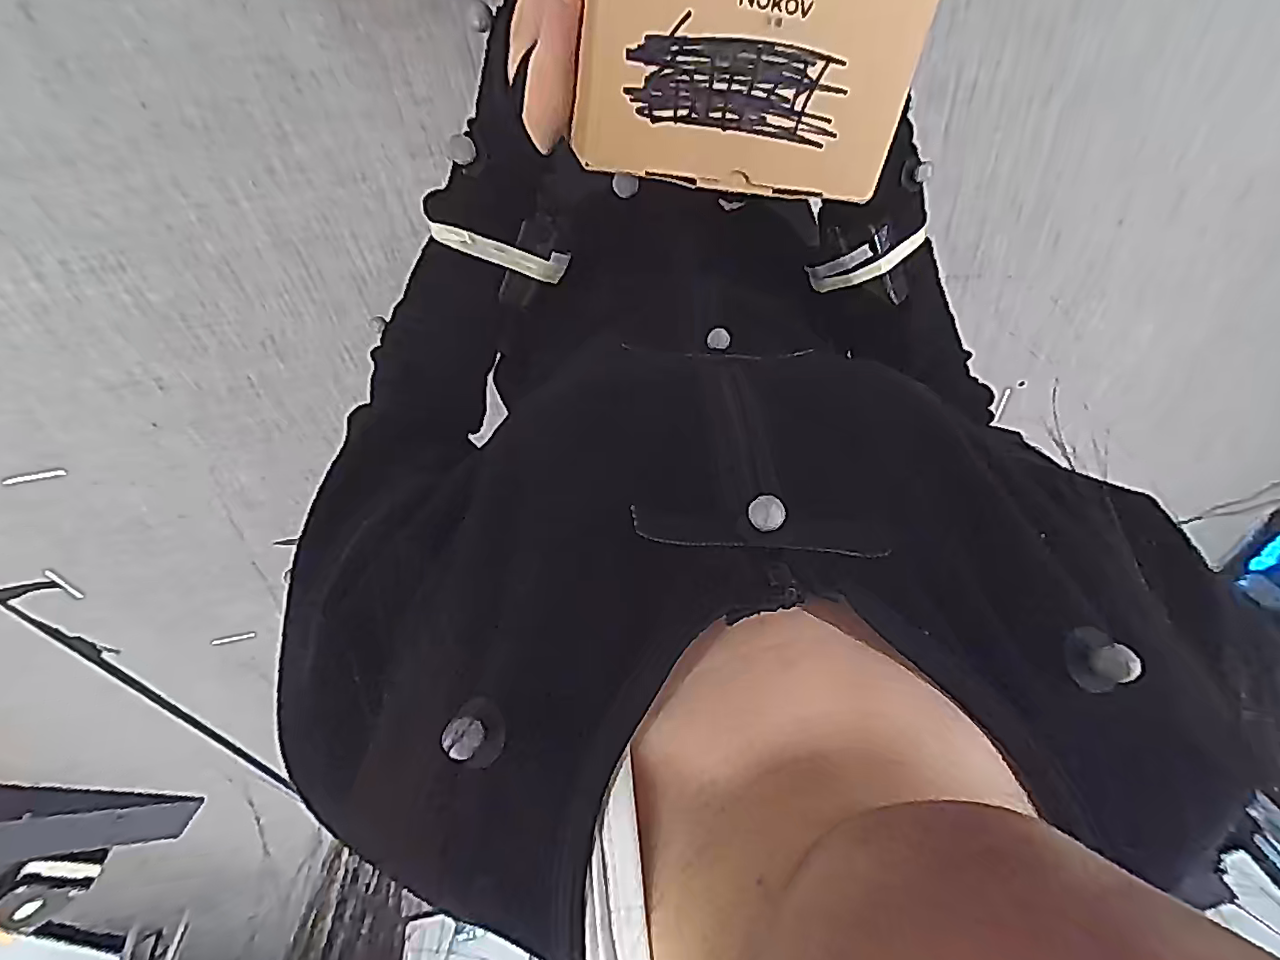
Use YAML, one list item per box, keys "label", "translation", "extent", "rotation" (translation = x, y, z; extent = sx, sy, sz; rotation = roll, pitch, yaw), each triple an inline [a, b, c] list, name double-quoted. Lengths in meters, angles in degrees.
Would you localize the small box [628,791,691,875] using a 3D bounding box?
- label: "small box"
  translation: [0.060, 1.129, 1.734]
  extent: [0.168, 0.176, 0.179]
  rotation: [-11, 132, -7]
